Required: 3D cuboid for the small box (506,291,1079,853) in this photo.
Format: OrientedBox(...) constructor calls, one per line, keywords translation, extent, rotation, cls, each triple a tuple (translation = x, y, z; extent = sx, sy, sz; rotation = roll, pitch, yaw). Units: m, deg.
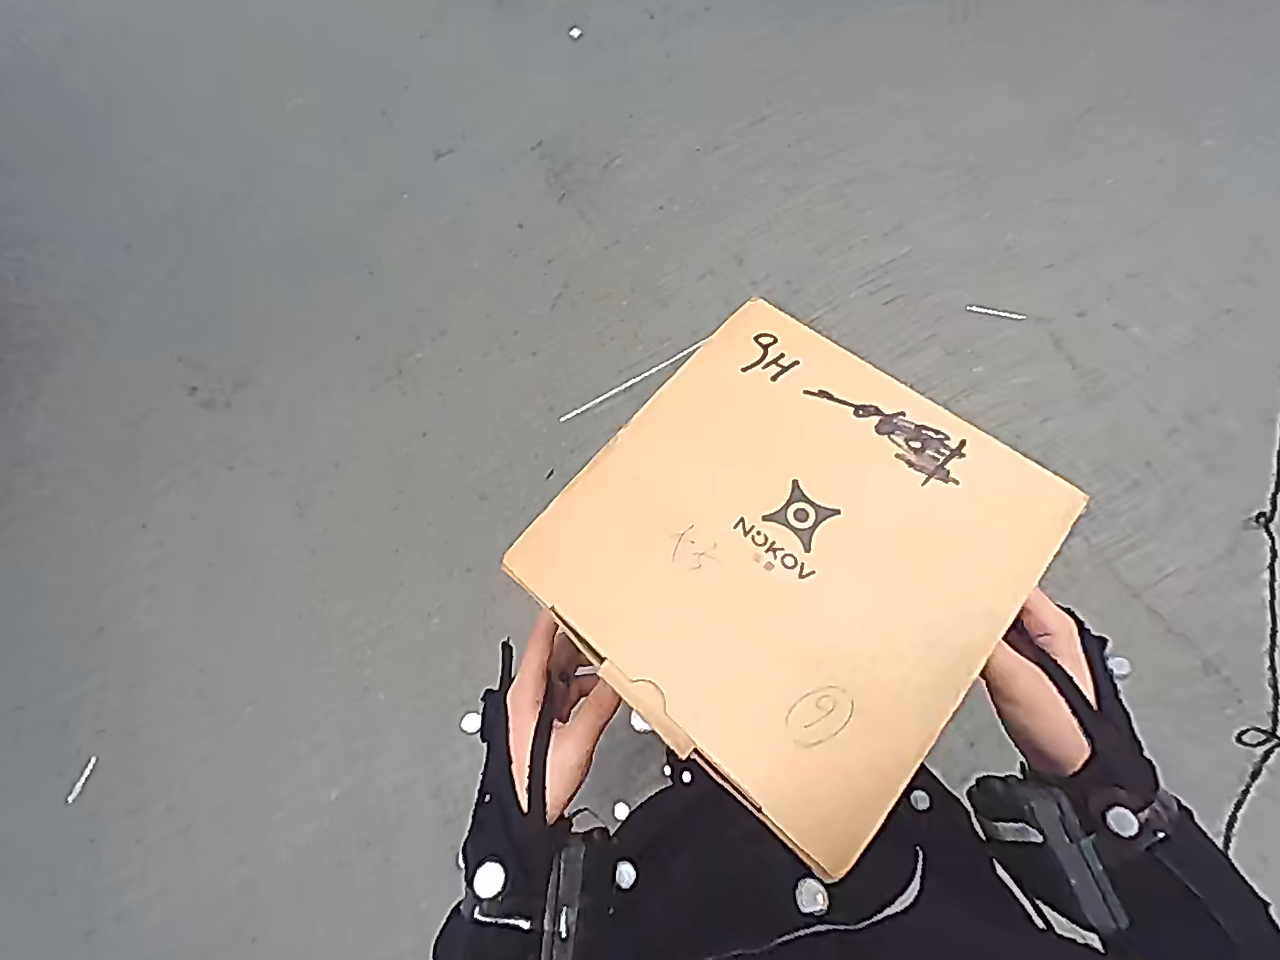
OrientedBox(translation=(0.066, 0.046, 0.294), extent=(0.168, 0.176, 0.179), rotation=(40, 78, 19), cls="small box")
